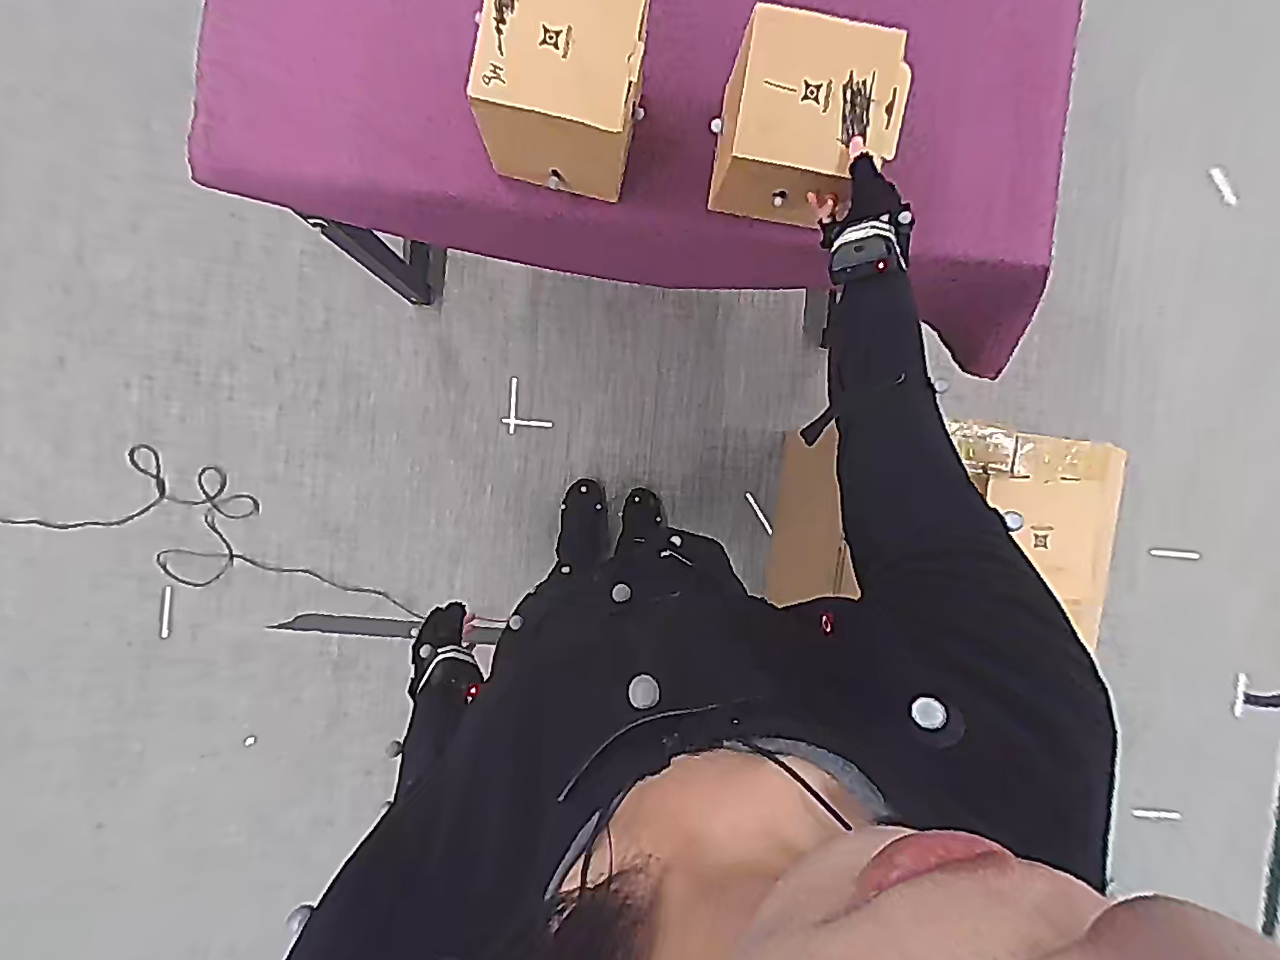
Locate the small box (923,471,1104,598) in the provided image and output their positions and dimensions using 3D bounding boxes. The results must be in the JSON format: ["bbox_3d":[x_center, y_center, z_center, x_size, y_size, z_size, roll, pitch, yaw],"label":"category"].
[{"bbox_3d":[0.565,0.075,0.840,0.168,0.176,0.179,1,93,-1],"label":"small box"}]

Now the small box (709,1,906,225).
[{"bbox_3d":[0.198,-0.445,0.688,0.179,0.176,0.168,8,96,-3],"label":"small box"}]

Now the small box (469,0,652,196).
[{"bbox_3d":[-0.093,-0.486,0.677,0.179,0.176,0.168,11,90,-4],"label":"small box"}]
